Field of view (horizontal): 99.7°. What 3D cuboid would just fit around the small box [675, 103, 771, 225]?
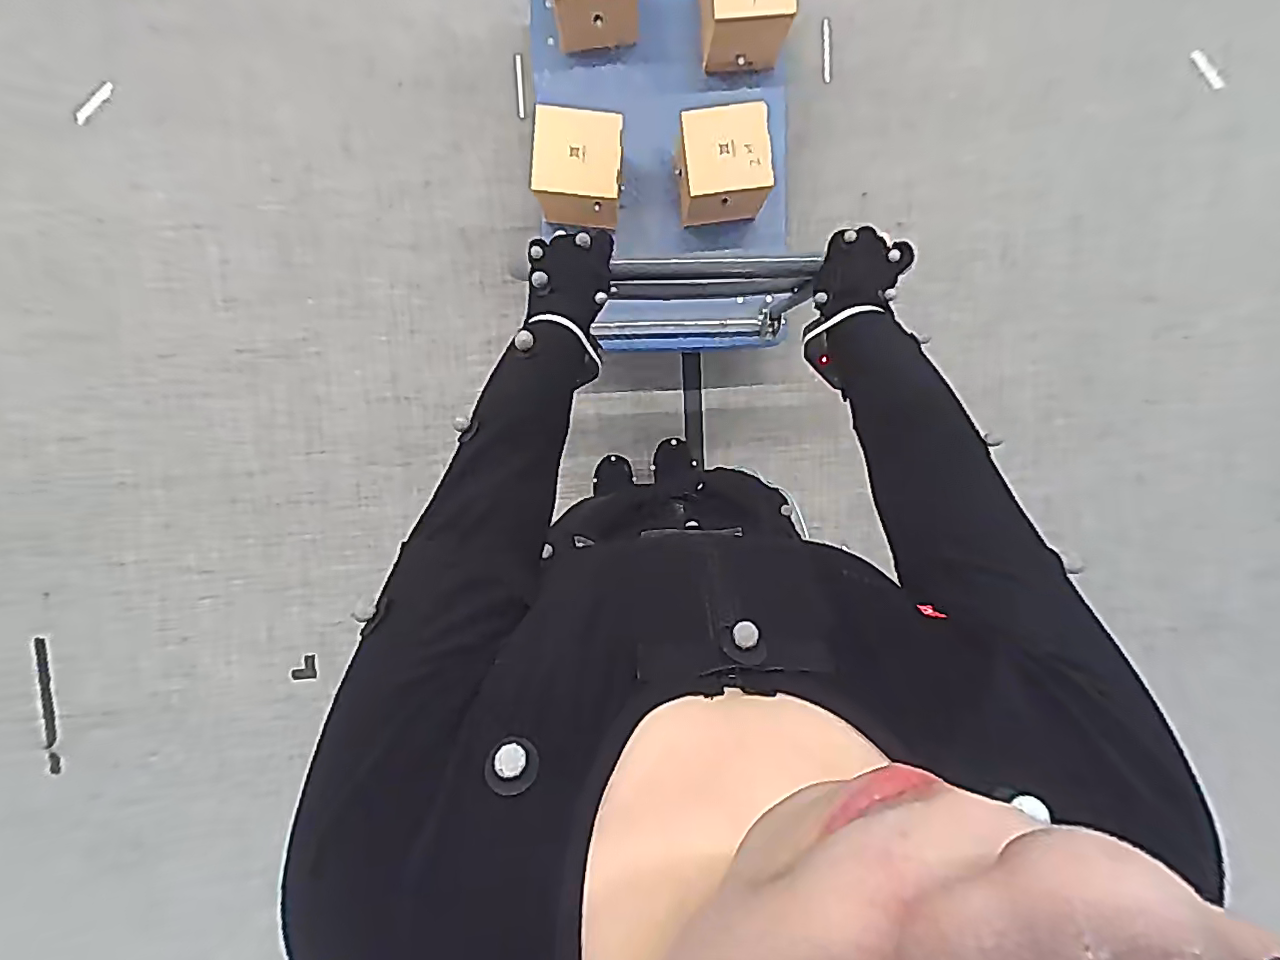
[{"bbox_3d":[0.170,-0.668,1.164,0.179,0.176,0.168,-7,96,-1],"label":"small box"}]

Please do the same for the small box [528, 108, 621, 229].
[{"bbox_3d":[-0.134,-0.657,1.159,0.179,0.176,0.168,4,95,-3],"label":"small box"}]

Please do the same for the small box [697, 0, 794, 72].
[{"bbox_3d":[0.213,-1.003,1.132,0.168,0.176,0.179,-5,97,-1],"label":"small box"}]
